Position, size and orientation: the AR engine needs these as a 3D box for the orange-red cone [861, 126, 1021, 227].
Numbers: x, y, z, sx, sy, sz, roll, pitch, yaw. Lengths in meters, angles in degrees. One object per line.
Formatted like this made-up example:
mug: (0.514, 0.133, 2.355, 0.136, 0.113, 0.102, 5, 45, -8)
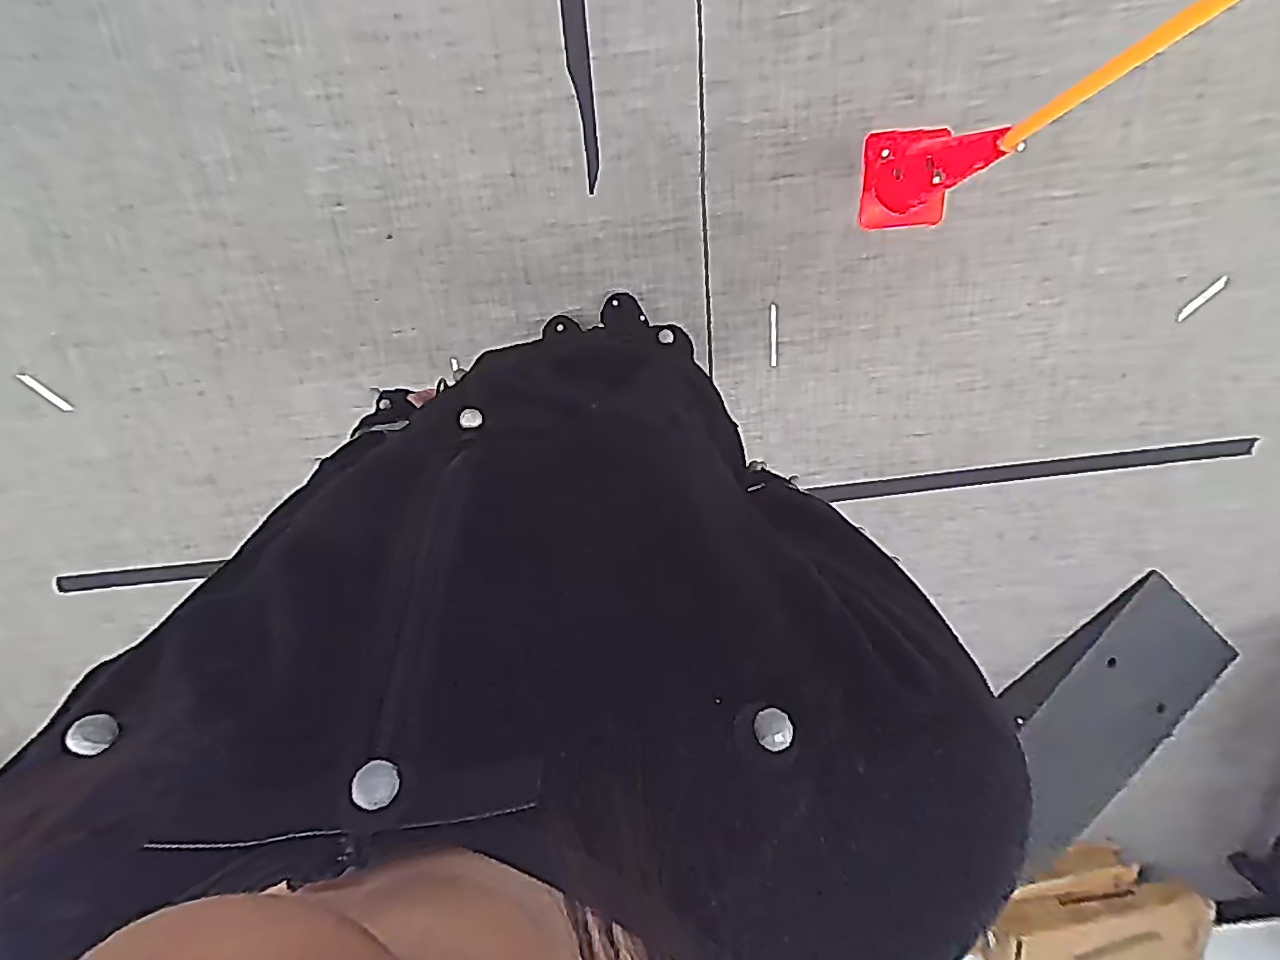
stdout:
orange-red cone: (0.613, -0.627, 1.066, 0.198, 0.360, 0.199, -2, 110, -1)
